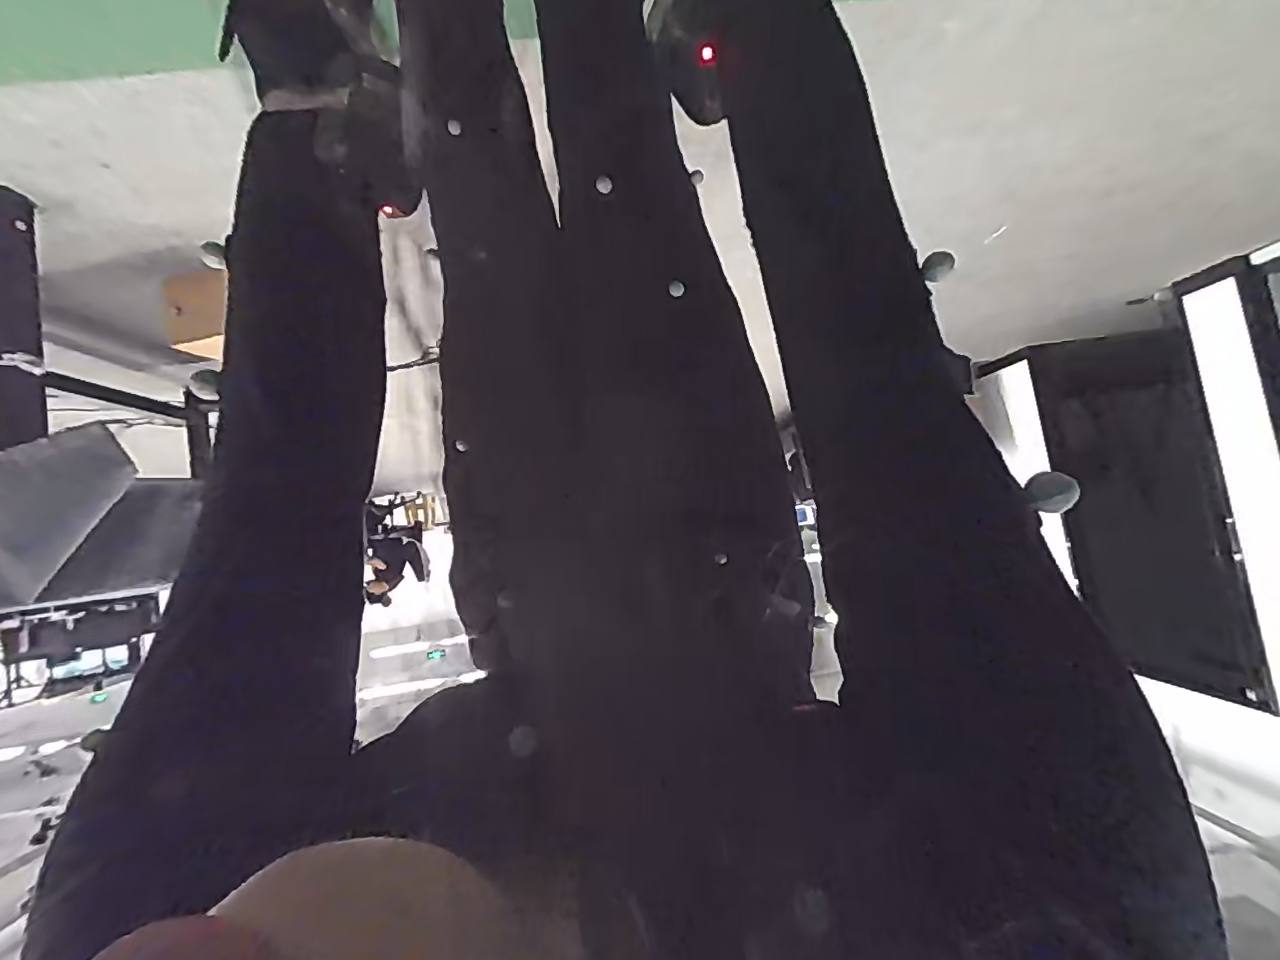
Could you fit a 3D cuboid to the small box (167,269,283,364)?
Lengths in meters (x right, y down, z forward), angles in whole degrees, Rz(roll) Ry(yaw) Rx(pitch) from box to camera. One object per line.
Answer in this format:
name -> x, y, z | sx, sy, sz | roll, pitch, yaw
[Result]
small box -> -1.044, -0.409, 1.364 | 0.179, 0.176, 0.168 | -8, 177, 9
